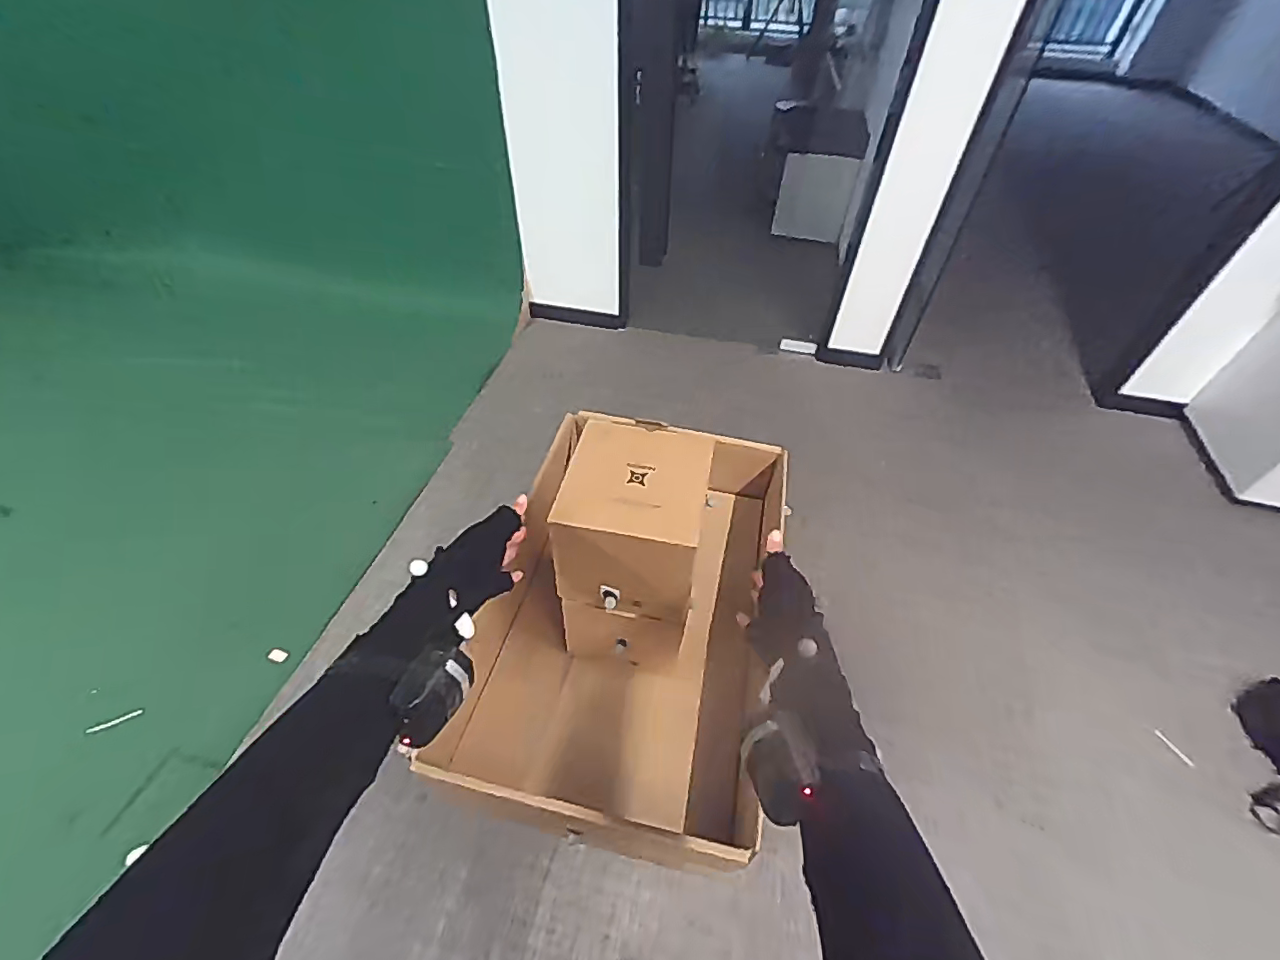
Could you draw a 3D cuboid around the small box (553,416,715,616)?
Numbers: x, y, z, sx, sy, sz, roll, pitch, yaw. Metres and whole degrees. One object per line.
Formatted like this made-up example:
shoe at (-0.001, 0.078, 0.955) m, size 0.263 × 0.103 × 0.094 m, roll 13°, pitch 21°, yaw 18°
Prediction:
small box at (-0.004, 0.046, 0.691) m, size 0.168 × 0.176 × 0.179 m, roll 9°, pitch 49°, yaw 6°
